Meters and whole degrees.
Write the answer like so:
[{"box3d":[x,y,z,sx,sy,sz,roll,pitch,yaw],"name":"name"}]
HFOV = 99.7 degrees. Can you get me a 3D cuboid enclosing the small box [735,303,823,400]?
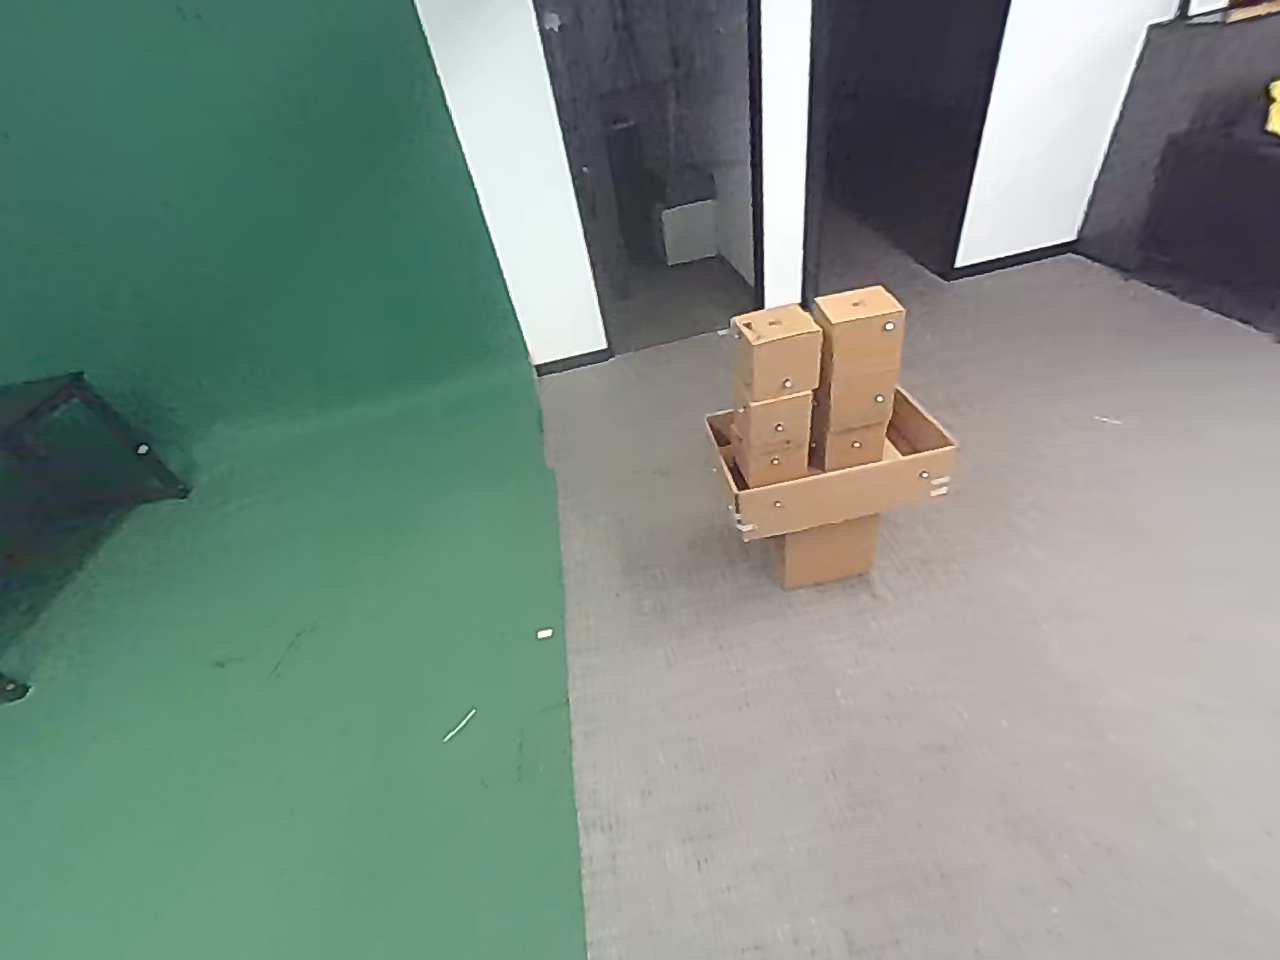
[{"box3d":[0.351,-0.330,1.395,0.179,0.176,0.168,-13,41,-2],"name":"small box"}]
